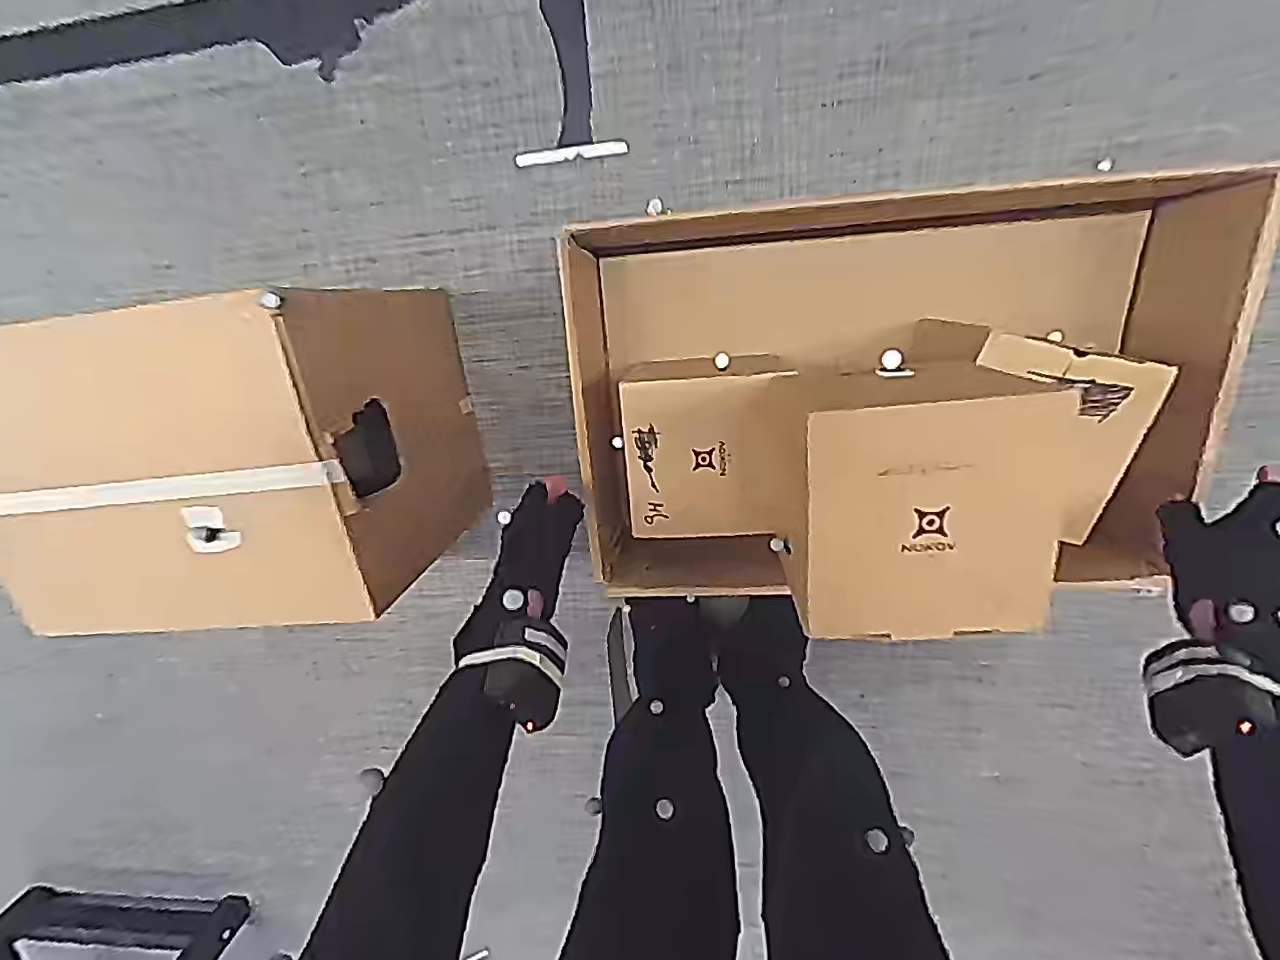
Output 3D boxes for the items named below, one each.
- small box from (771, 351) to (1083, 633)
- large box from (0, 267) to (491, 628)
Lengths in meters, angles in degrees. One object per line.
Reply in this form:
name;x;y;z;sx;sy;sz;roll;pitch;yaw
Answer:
small box;0.201;0.000;0.435;0.168;0.176;0.179;-5;108;7
large box;-0.448;-0.054;0.644;0.408;0.320;0.320;-6;110;8
